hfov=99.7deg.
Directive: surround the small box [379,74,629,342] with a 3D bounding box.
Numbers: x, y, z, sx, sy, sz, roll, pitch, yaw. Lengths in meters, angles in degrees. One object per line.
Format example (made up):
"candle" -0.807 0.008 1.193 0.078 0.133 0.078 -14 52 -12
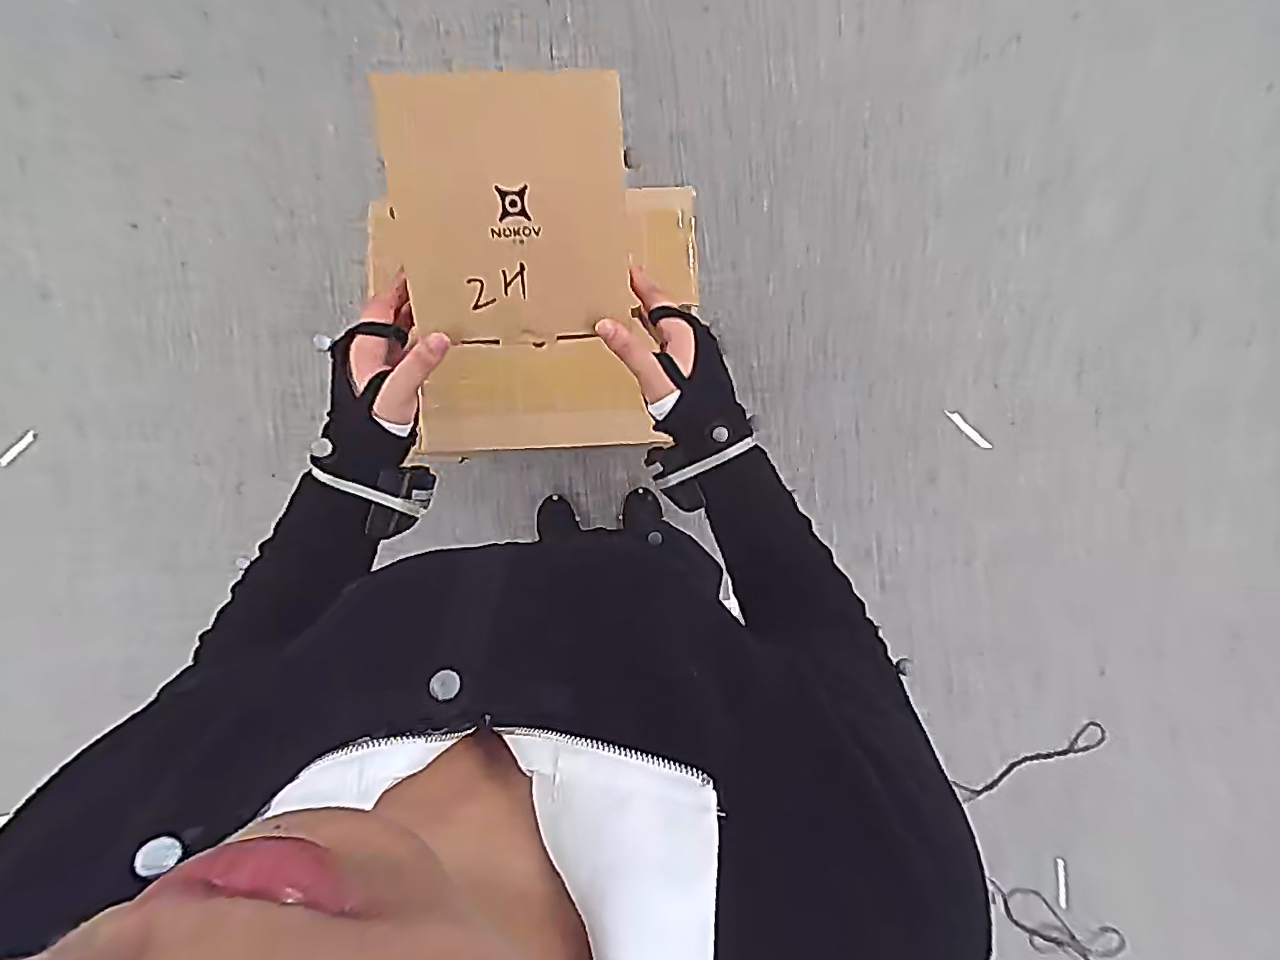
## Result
"small box" -0.101 -0.217 0.470 0.168 0.176 0.179 -4 109 -5
